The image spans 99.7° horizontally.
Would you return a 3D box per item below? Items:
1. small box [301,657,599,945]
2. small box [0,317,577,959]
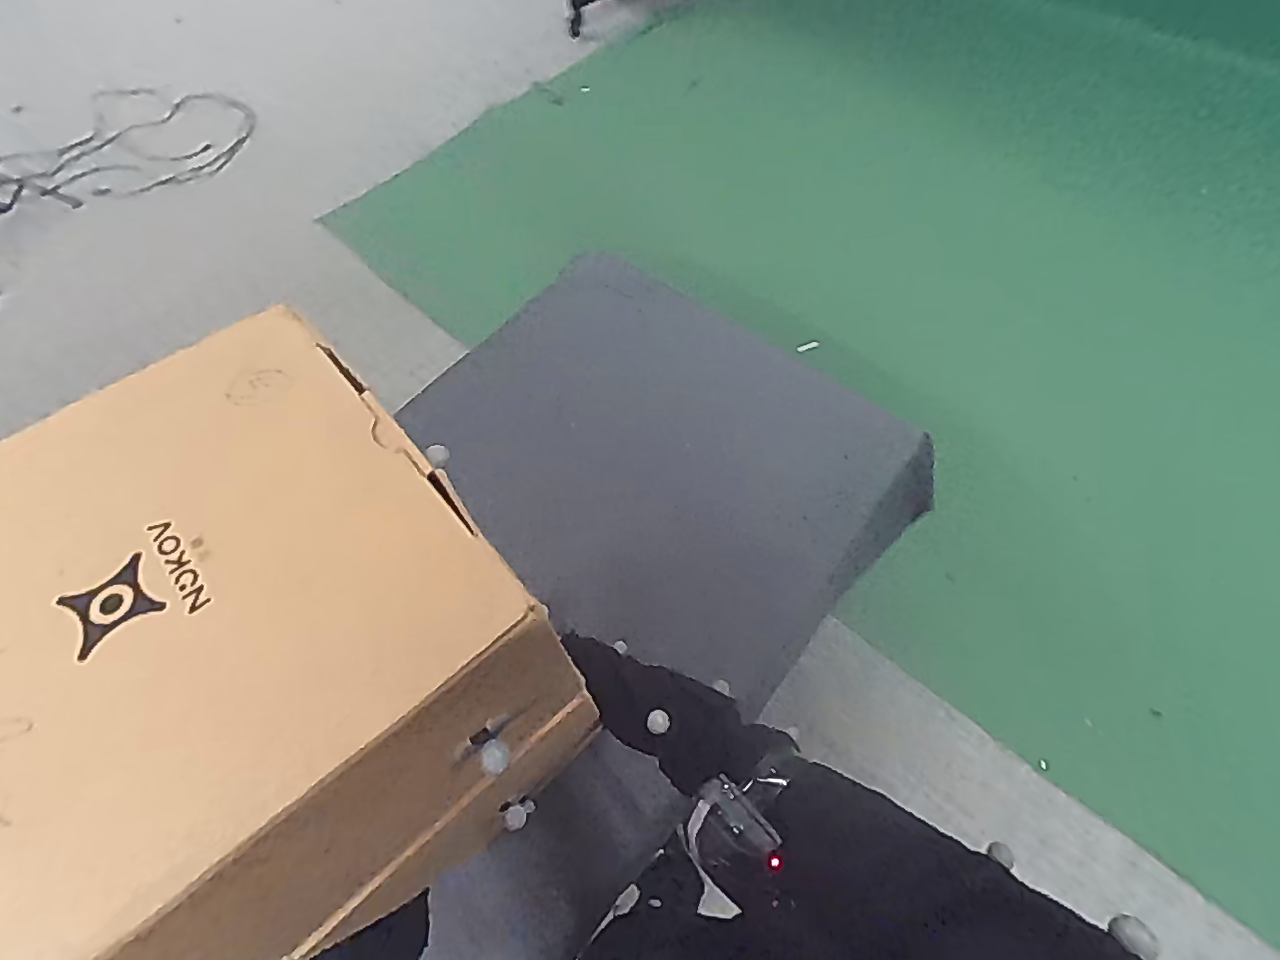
[{"bbox_3d":[-0.144,0.153,0.375,0.179,0.176,0.168,-37,67,-19],"label":"small box"},{"bbox_3d":[-0.141,0.073,0.235,0.179,0.176,0.168,-39,68,-18],"label":"small box"}]
